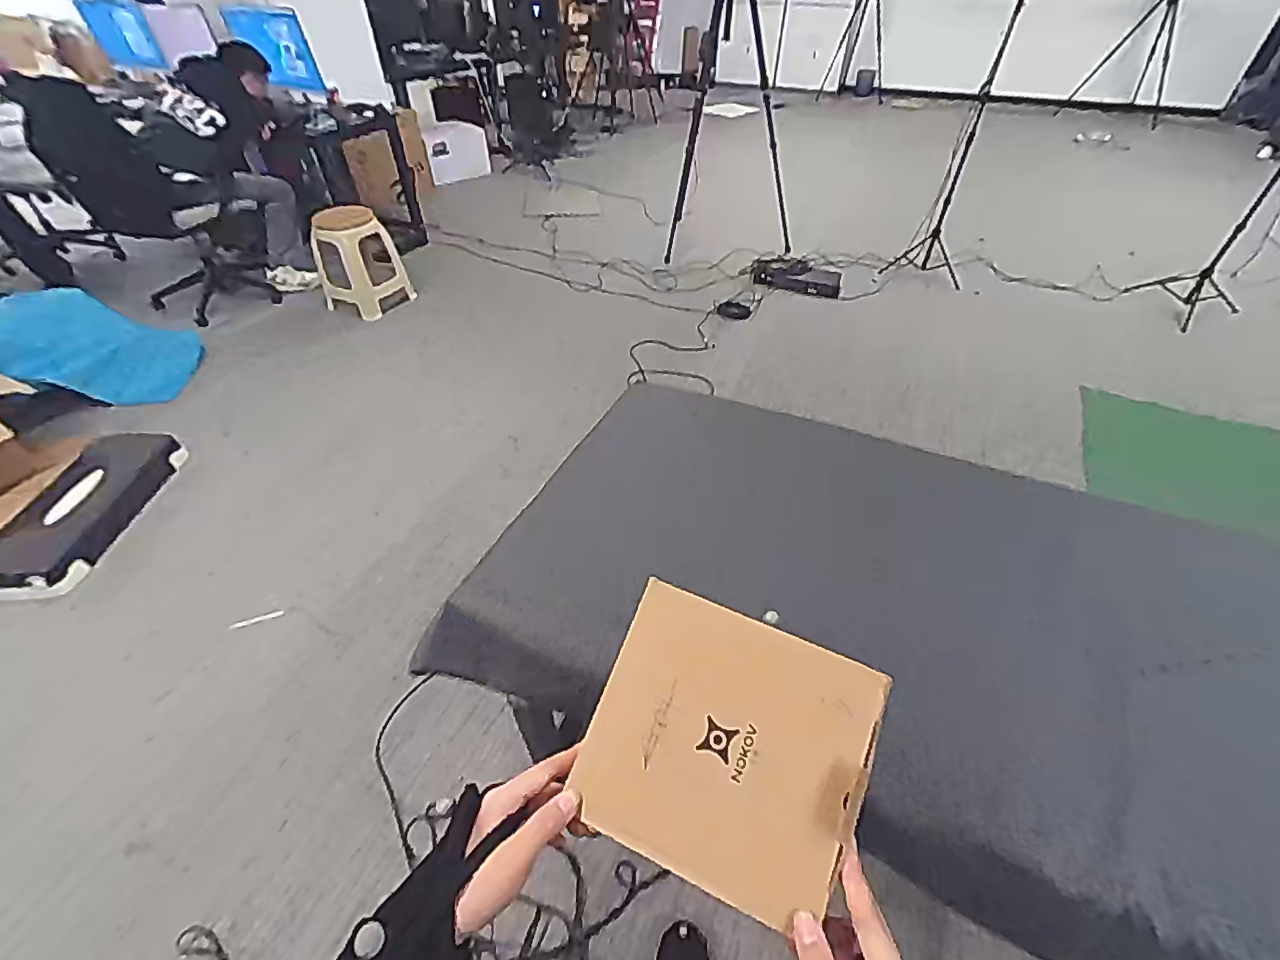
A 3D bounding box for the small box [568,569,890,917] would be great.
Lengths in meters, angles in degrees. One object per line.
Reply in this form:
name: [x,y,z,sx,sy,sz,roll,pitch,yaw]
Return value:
small box: [0.072,0.191,0.439,0.179,0.176,0.168,19,73,16]
